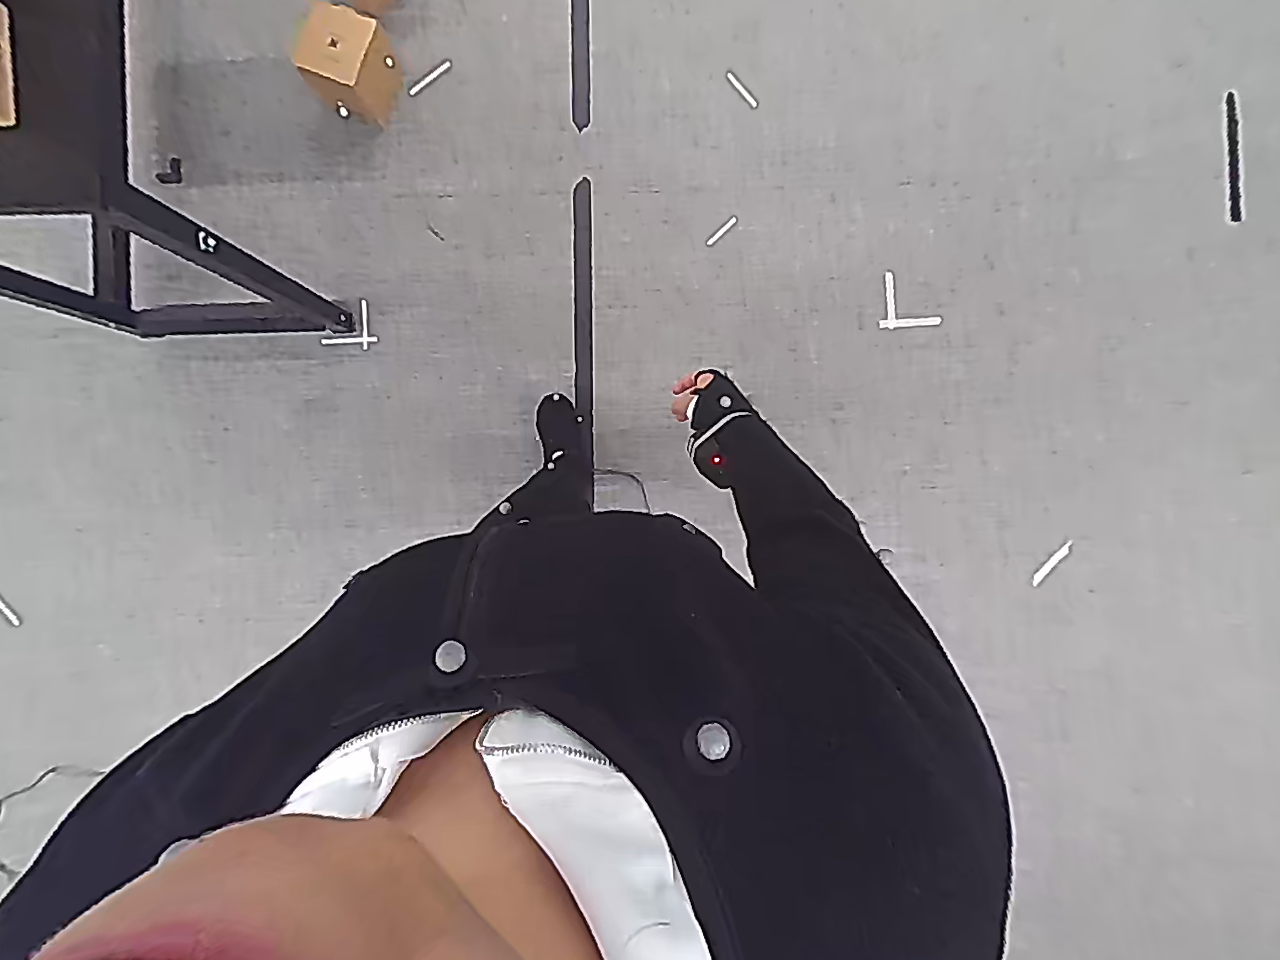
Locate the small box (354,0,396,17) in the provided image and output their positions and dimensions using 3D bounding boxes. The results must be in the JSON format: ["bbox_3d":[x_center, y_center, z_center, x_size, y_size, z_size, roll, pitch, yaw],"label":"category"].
[{"bbox_3d":[-0.729,-1.371,1.397,0.179,0.176,0.168,42,90,-1],"label":"small box"}]

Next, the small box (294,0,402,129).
[{"bbox_3d":[-0.746,-1.068,1.403,0.168,0.176,0.179,20,91,0],"label":"small box"}]
